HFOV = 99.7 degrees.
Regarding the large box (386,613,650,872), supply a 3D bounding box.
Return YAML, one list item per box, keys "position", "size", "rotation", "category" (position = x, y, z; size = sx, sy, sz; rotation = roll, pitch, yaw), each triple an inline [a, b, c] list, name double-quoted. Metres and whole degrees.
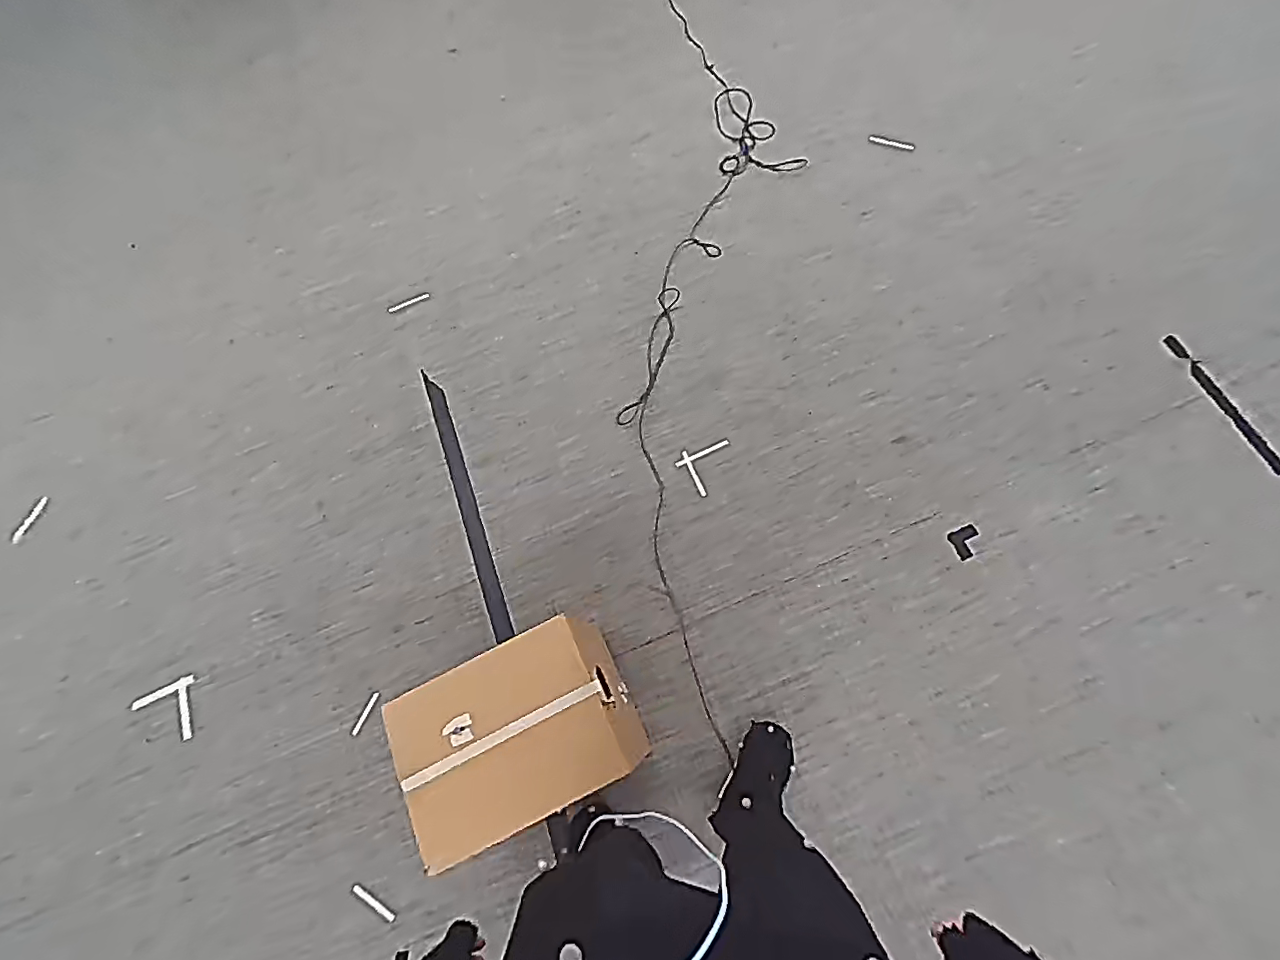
- position: [-0.236, 0.522, 1.148]
  size: [0.408, 0.320, 0.320]
  rotation: [-27, 68, 0]
  category: "large box"
